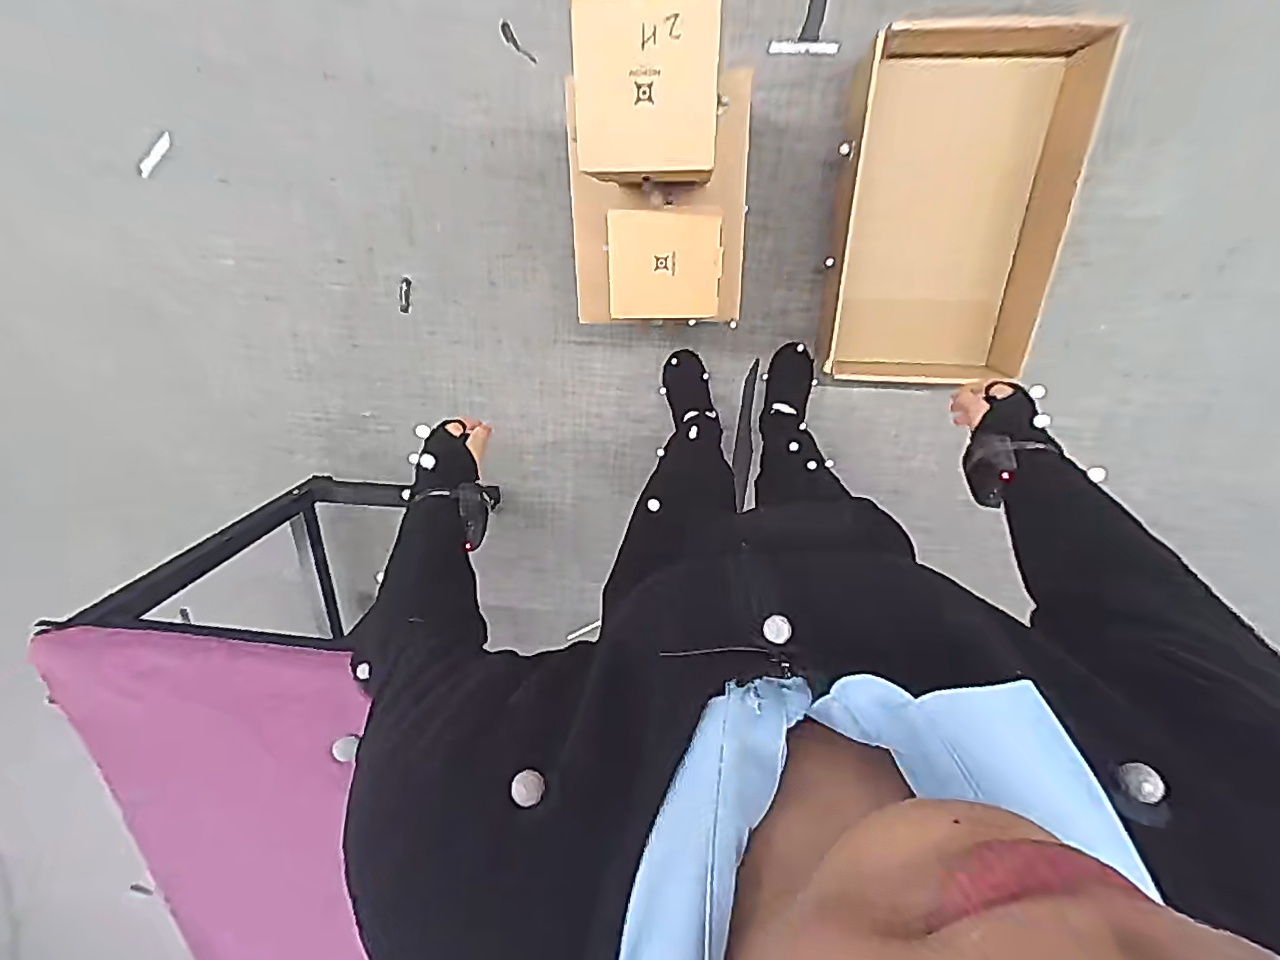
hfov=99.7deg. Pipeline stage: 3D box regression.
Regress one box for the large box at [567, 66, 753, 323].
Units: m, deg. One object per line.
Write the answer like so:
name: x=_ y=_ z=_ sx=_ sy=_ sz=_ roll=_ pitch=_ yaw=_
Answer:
large box: x=0.050 y=-0.549 z=1.098 sx=0.320 sy=0.320 sz=0.408 roll=2 pitch=114 yaw=6

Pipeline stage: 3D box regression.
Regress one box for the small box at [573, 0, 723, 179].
small box: x=0.015 y=-0.484 z=0.681 sx=0.168 sy=0.176 sz=0.179 roll=2 pitch=115 yaw=5
